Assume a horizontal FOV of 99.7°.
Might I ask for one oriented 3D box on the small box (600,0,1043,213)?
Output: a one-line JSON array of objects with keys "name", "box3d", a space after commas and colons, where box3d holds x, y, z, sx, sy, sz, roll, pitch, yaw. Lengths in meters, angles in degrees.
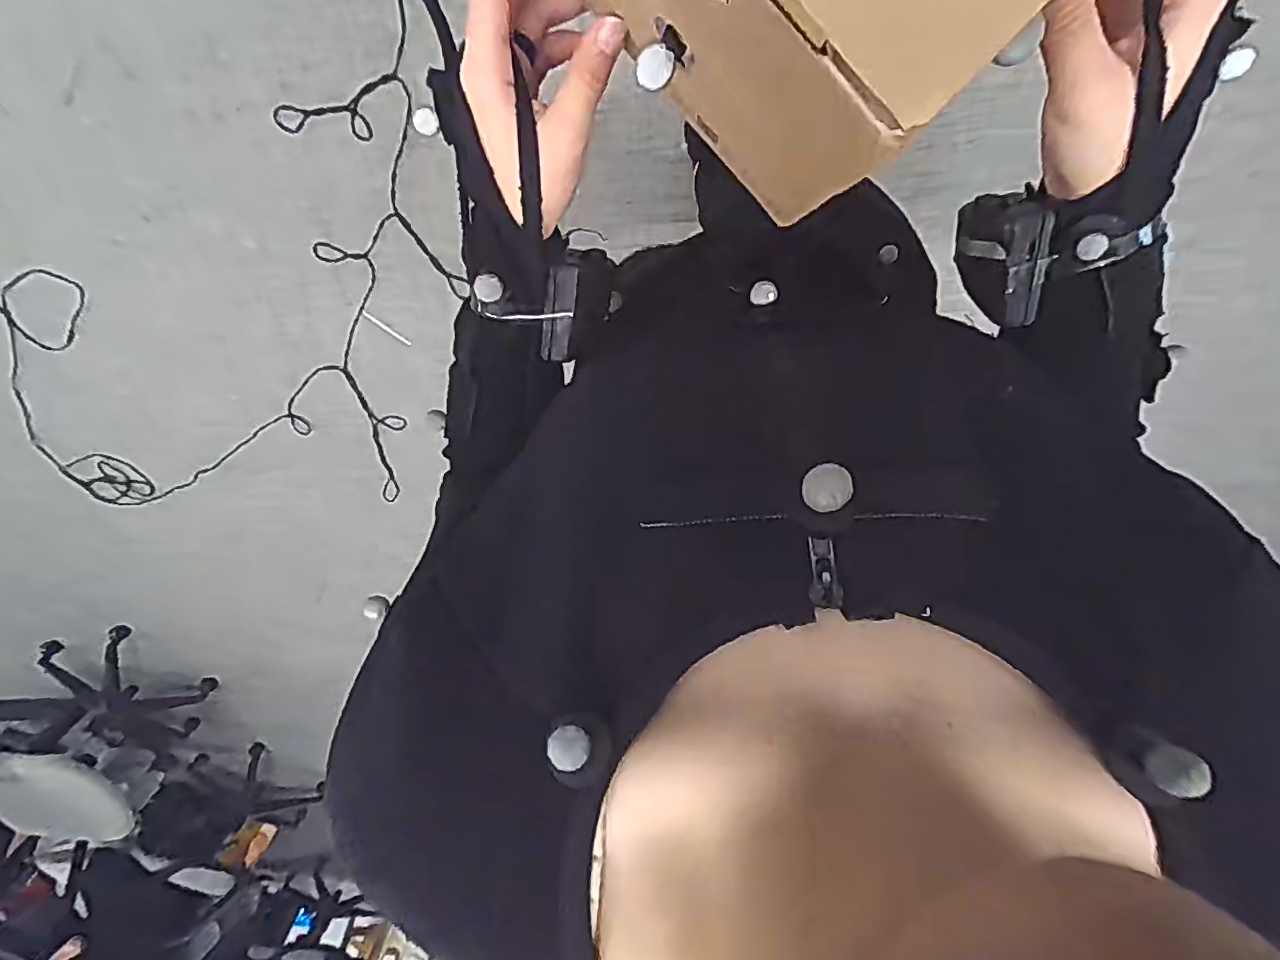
[{"name": "small box", "box3d": [0.075, -0.223, 0.184, 0.168, 0.176, 0.179, 43, 108, -10]}]
